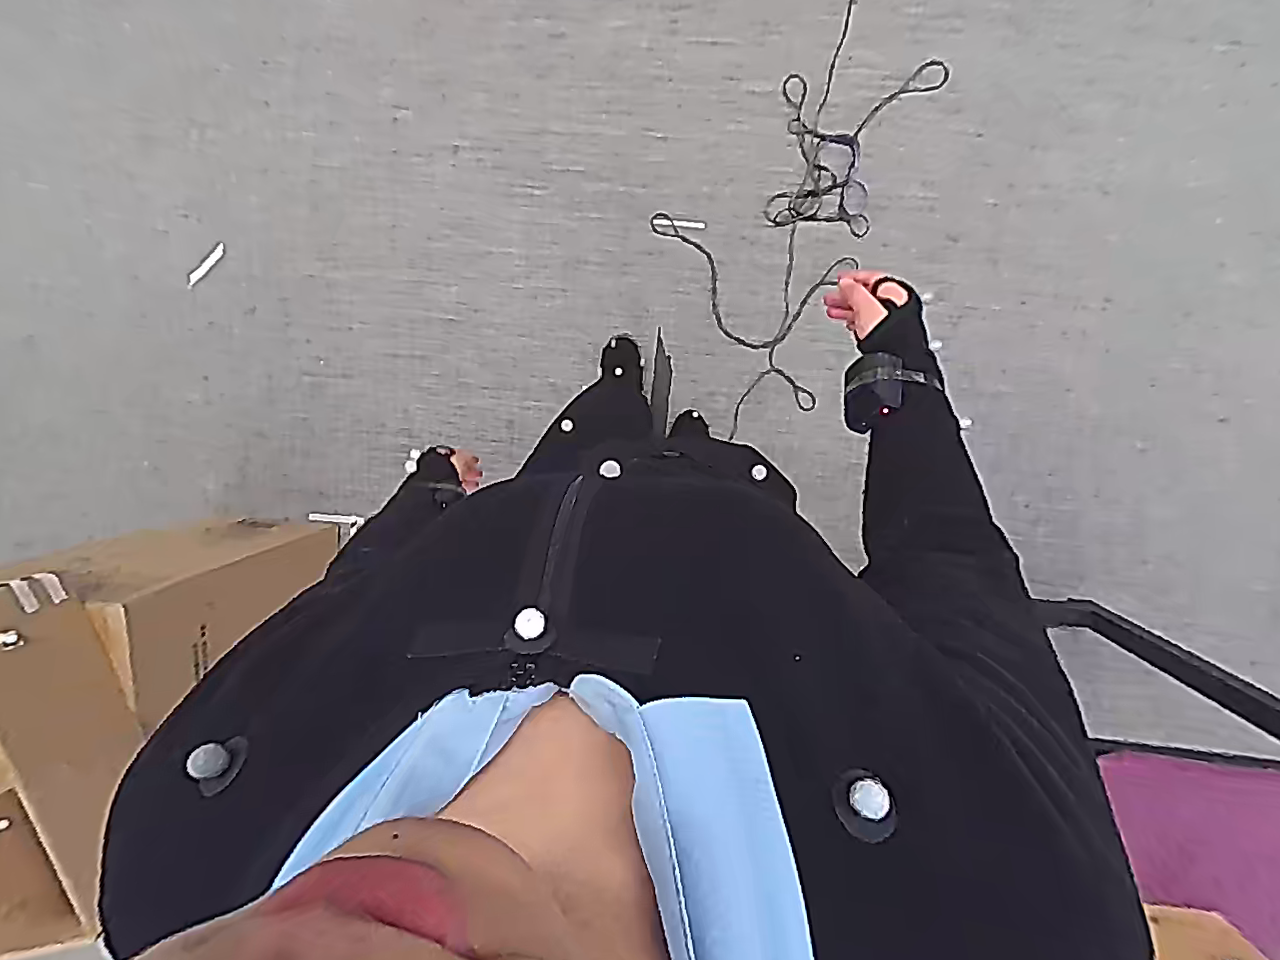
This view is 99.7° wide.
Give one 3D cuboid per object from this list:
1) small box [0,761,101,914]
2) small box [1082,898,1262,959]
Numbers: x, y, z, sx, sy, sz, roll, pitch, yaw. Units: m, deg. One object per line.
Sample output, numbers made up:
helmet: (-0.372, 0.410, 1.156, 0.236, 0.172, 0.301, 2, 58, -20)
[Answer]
small box: (-1.110, 0.615, 0.933, 0.168, 0.176, 0.179, -14, 97, 6)
small box: (0.733, 0.705, 0.717, 0.168, 0.176, 0.179, 3, 99, 5)
